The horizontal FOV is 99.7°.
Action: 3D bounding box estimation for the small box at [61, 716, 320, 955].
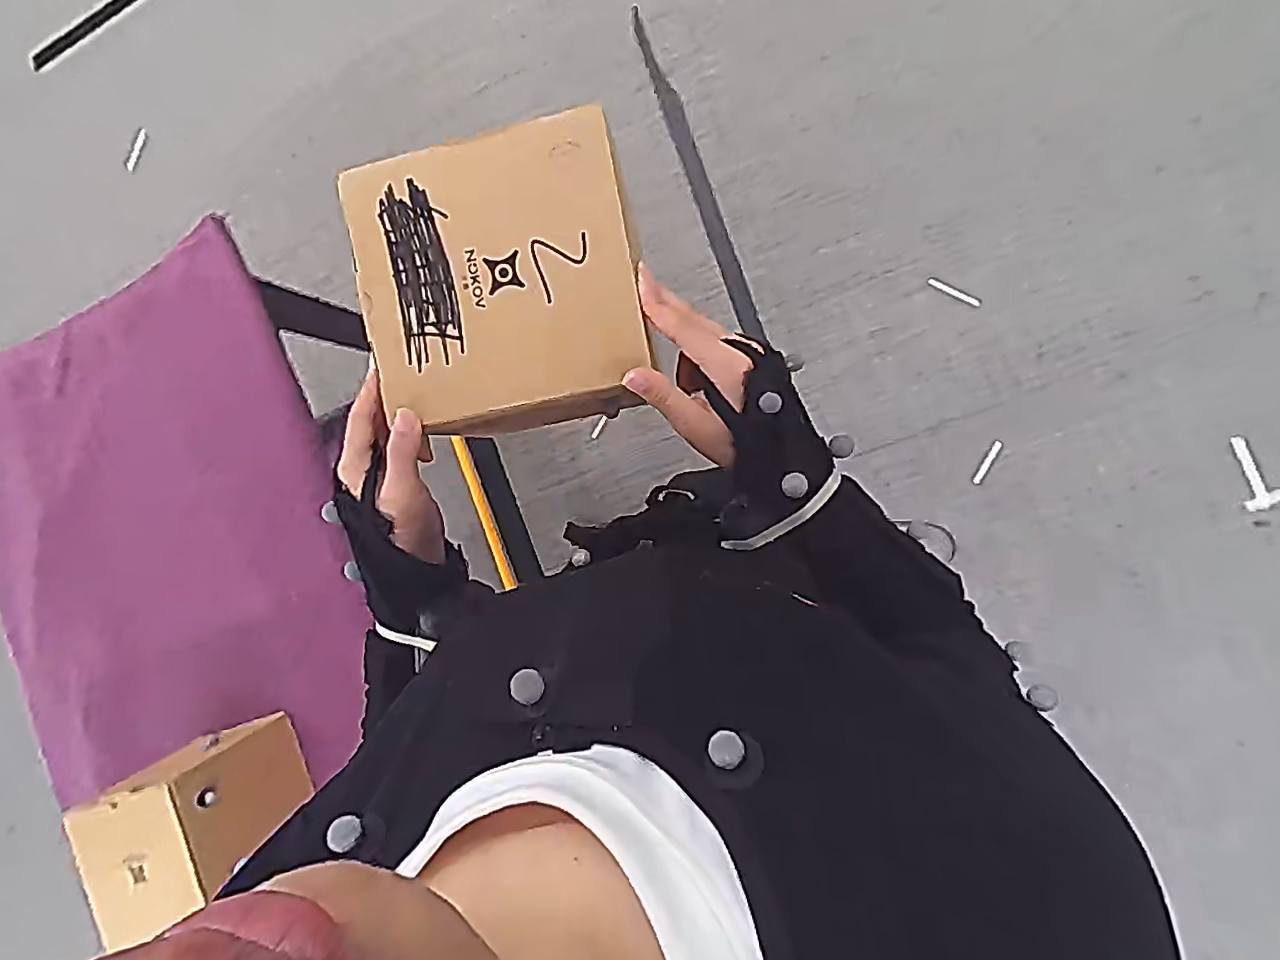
[{"bbox_3d":[-0.551,0.436,0.686,0.168,0.176,0.179,-21,88,11],"label":"small box"}]
